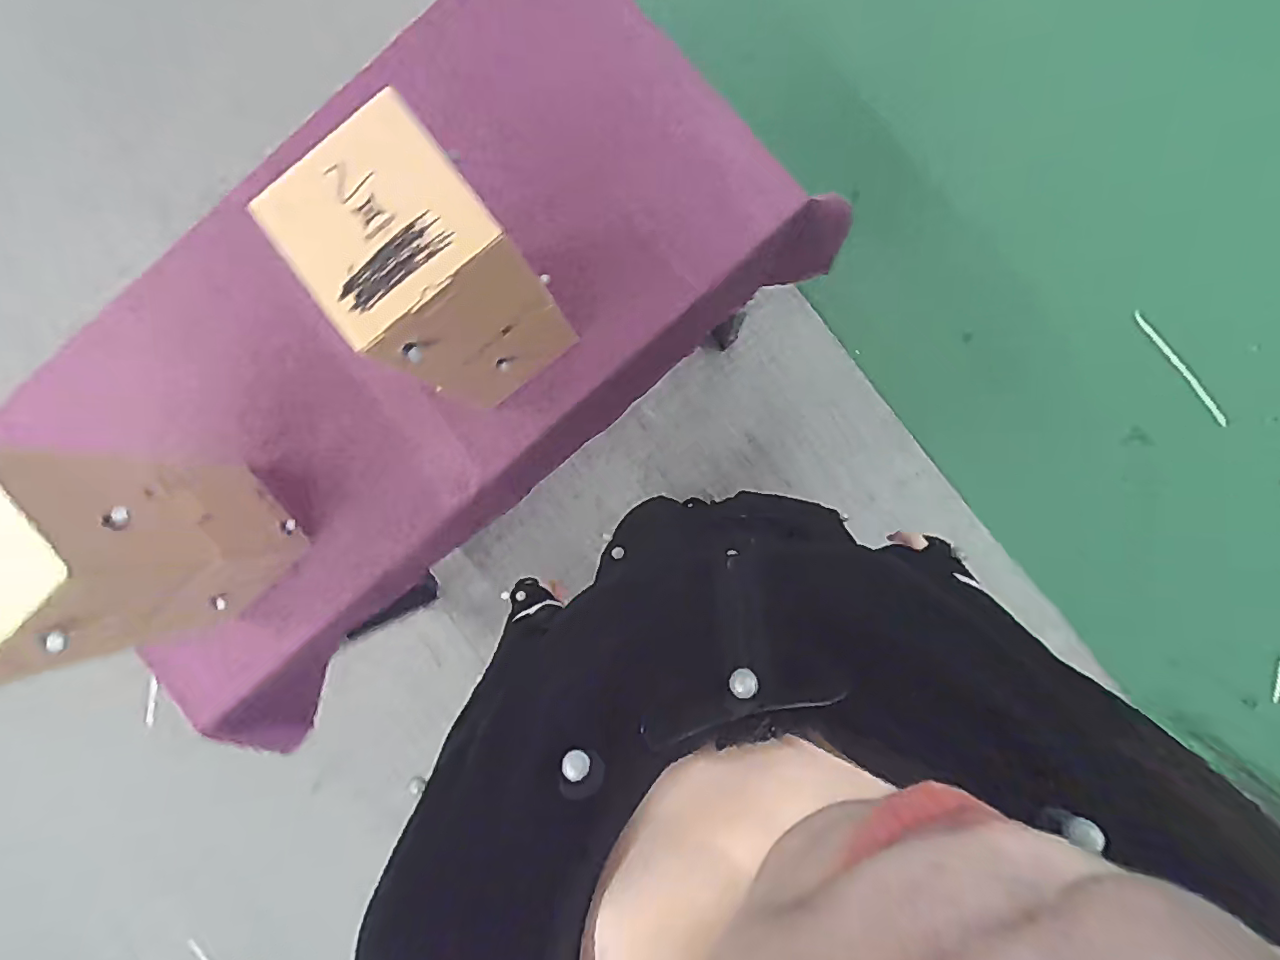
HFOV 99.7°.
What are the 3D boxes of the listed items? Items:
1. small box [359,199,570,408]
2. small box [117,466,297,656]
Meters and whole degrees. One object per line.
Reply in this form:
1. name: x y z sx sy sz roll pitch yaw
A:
1. small box: -0.215 -0.215 0.714 0.179 0.176 0.168 -37 87 2
2. small box: -0.613 0.098 0.734 0.179 0.176 0.168 -43 86 3
